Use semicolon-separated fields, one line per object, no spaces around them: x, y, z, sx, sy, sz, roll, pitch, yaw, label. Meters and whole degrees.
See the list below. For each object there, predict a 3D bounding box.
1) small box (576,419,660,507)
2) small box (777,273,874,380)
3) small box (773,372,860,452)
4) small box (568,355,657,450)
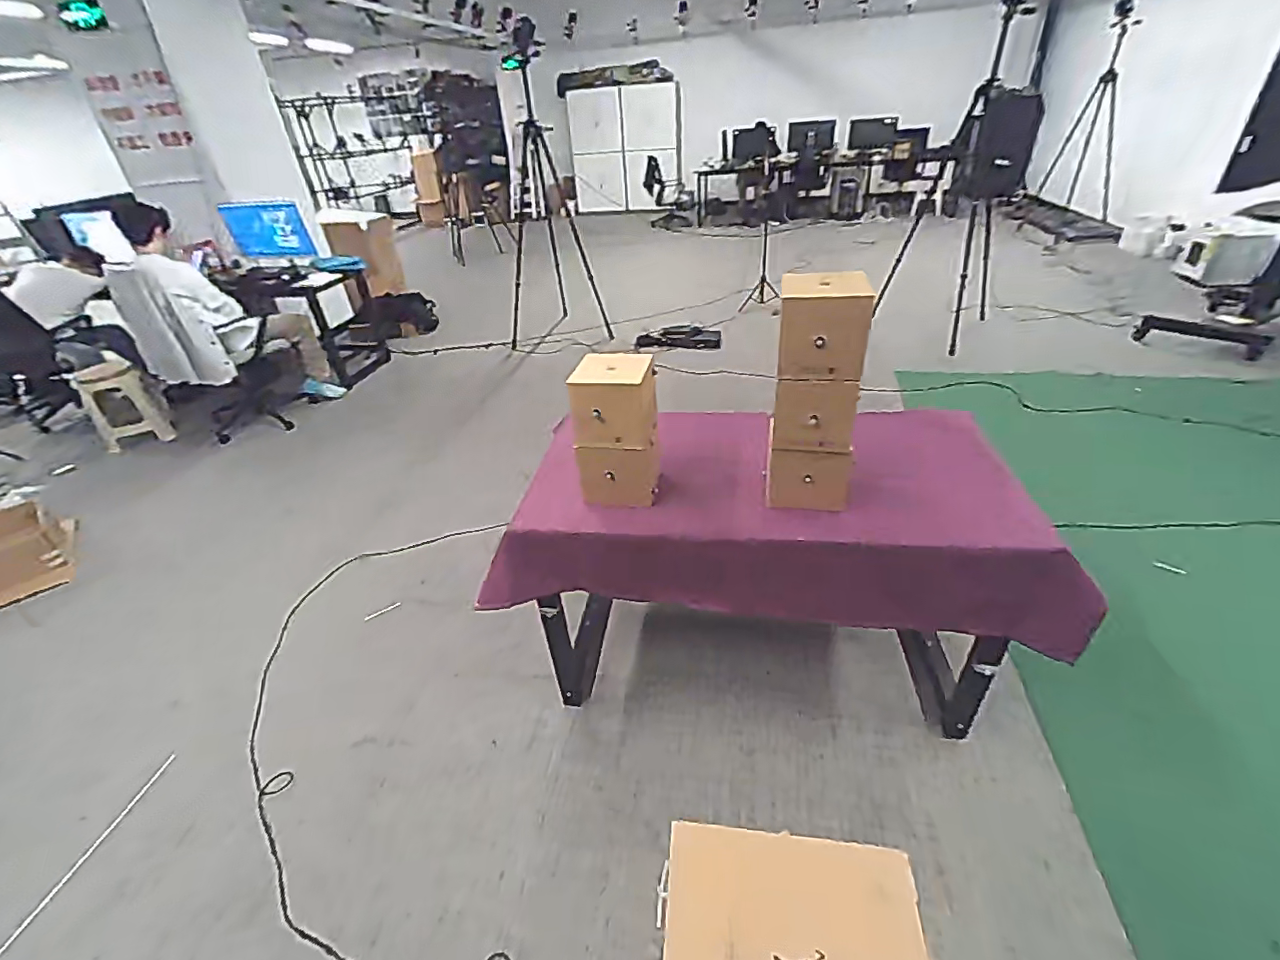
-0.046;-0.046;1.352;0.179;0.176;0.168;2;34;10;small box
0.370;-0.311;1.101;0.168;0.176;0.179;4;34;13;small box
0.385;-0.175;1.194;0.168;0.176;0.179;5;36;14;small box
-0.054;-0.182;1.262;0.168;0.176;0.179;3;34;11;small box
